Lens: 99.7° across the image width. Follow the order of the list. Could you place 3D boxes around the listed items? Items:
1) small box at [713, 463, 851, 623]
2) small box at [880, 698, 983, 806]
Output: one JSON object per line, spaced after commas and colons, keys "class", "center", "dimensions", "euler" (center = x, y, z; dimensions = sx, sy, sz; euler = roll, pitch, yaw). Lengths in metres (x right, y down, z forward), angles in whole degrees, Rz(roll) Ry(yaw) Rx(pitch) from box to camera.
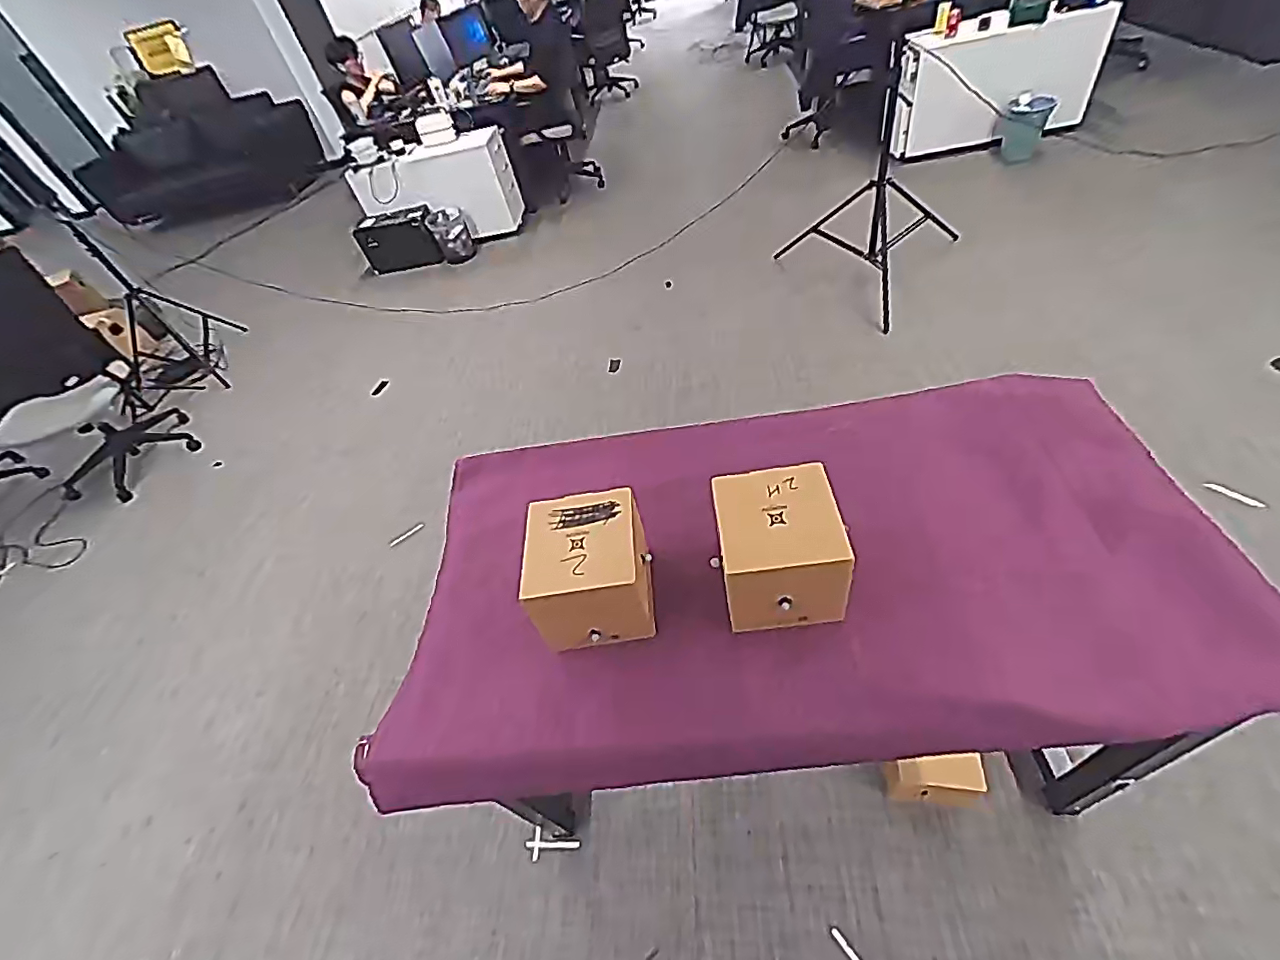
{"class": "small box", "center": [0.206, 0.103, 0.813], "dimensions": [0.168, 0.176, 0.179], "euler": [-7, 47, 7]}
{"class": "small box", "center": [0.652, 0.622, 1.231], "dimensions": [0.168, 0.176, 0.179], "euler": [0, 48, 15]}
